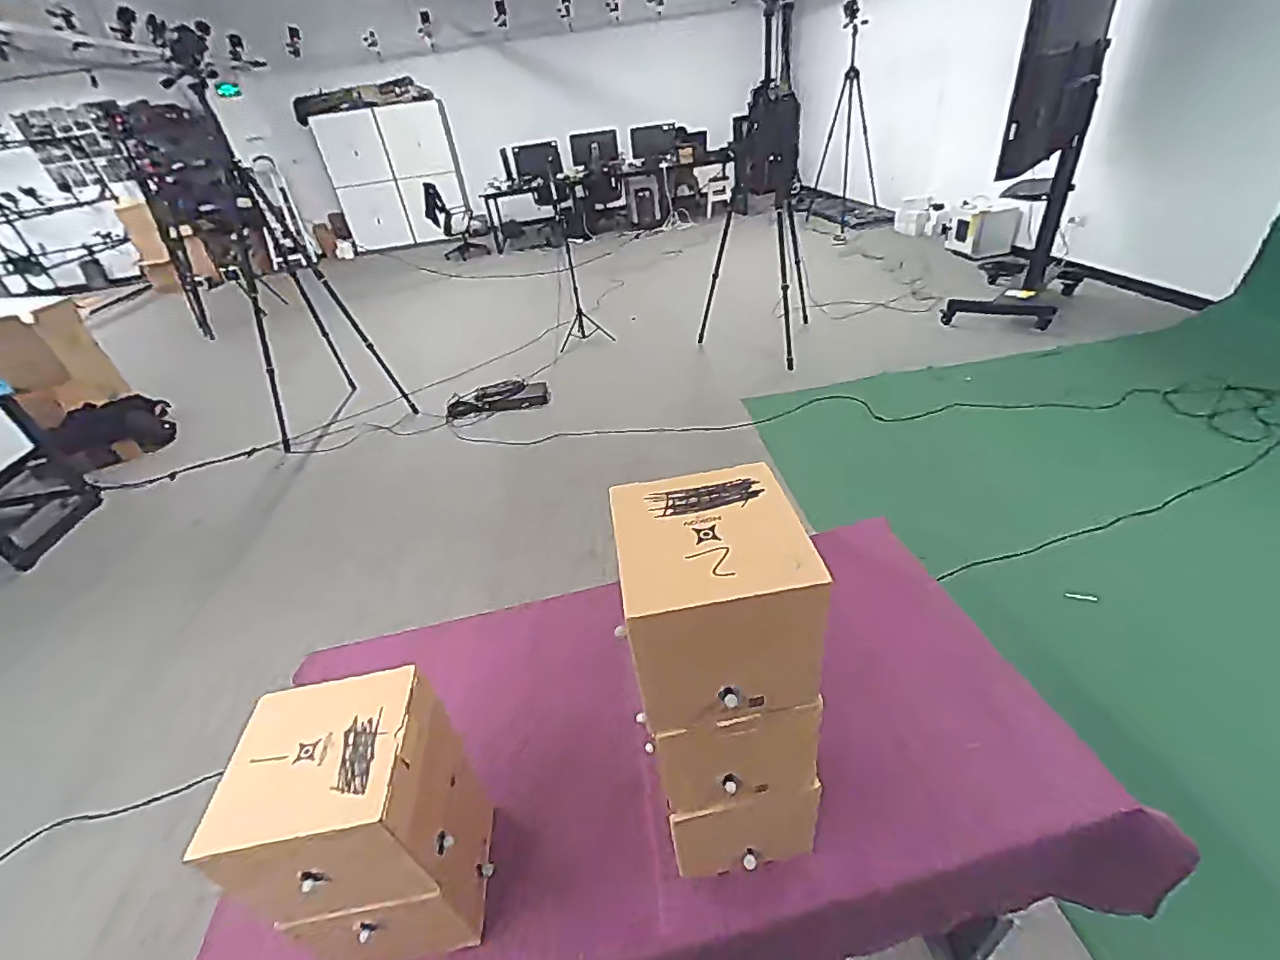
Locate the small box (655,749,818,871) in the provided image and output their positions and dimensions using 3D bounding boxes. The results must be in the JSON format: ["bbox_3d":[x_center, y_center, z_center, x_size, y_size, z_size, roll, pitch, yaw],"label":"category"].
[{"bbox_3d":[0.113,0.380,0.716,0.179,0.176,0.168,-10,35,-4],"label":"small box"}]

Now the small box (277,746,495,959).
[{"bbox_3d":[-0.296,0.469,0.677,0.179,0.176,0.168,-10,36,-3],"label":"small box"}]

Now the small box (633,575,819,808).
[{"bbox_3d":[0.090,0.242,0.631,0.168,0.176,0.179,-11,36,-3],"label":"small box"}]

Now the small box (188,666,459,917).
[{"bbox_3d":[-0.312,0.334,0.585,0.179,0.176,0.168,-11,36,-3],"label":"small box"}]
